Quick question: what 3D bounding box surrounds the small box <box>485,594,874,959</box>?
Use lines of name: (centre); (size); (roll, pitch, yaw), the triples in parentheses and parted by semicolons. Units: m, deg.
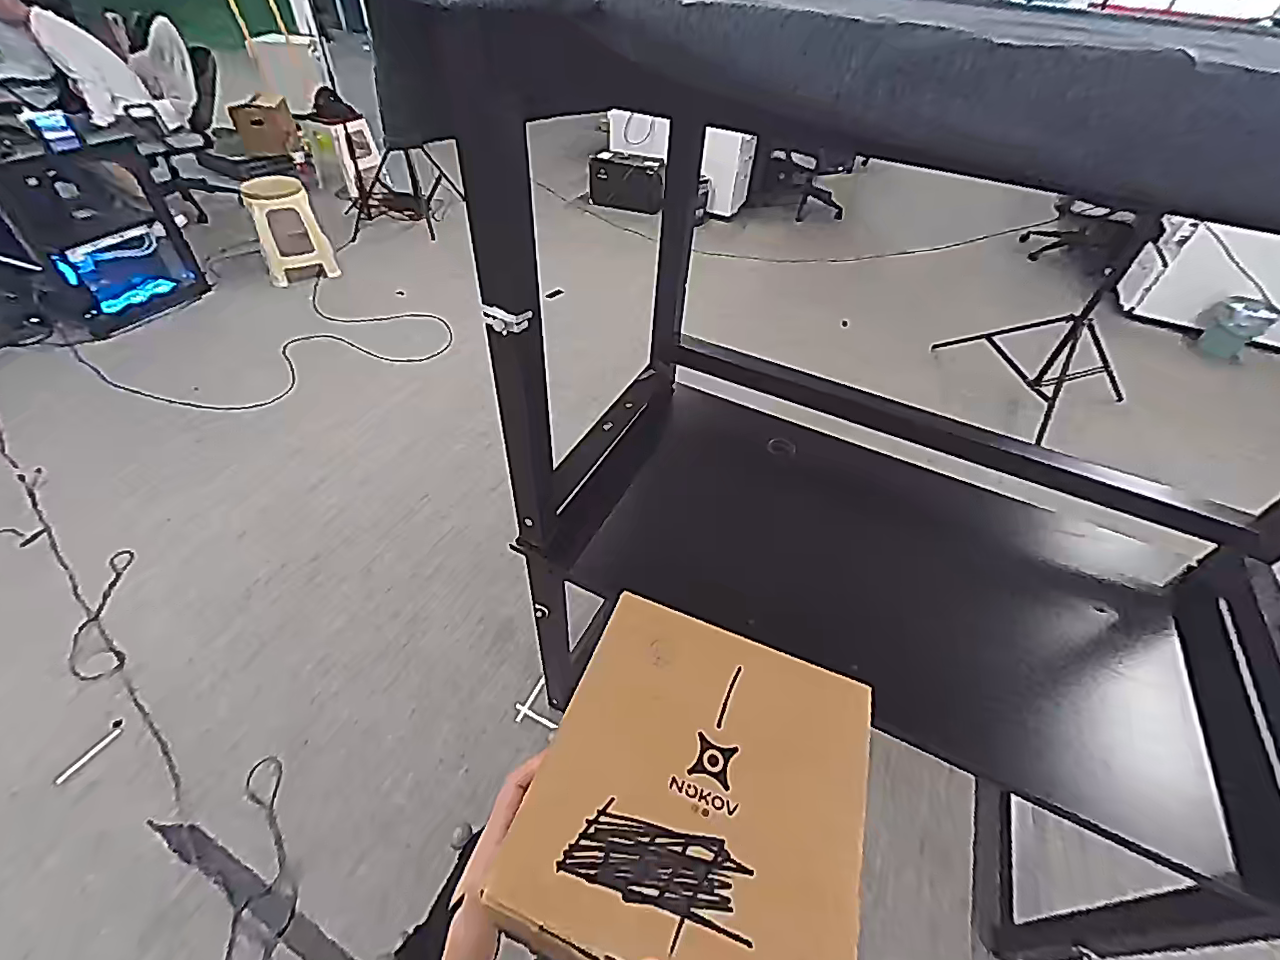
small box: (0.027, 0.211, 0.339); (0.168, 0.176, 0.179); (19, 45, 10)
